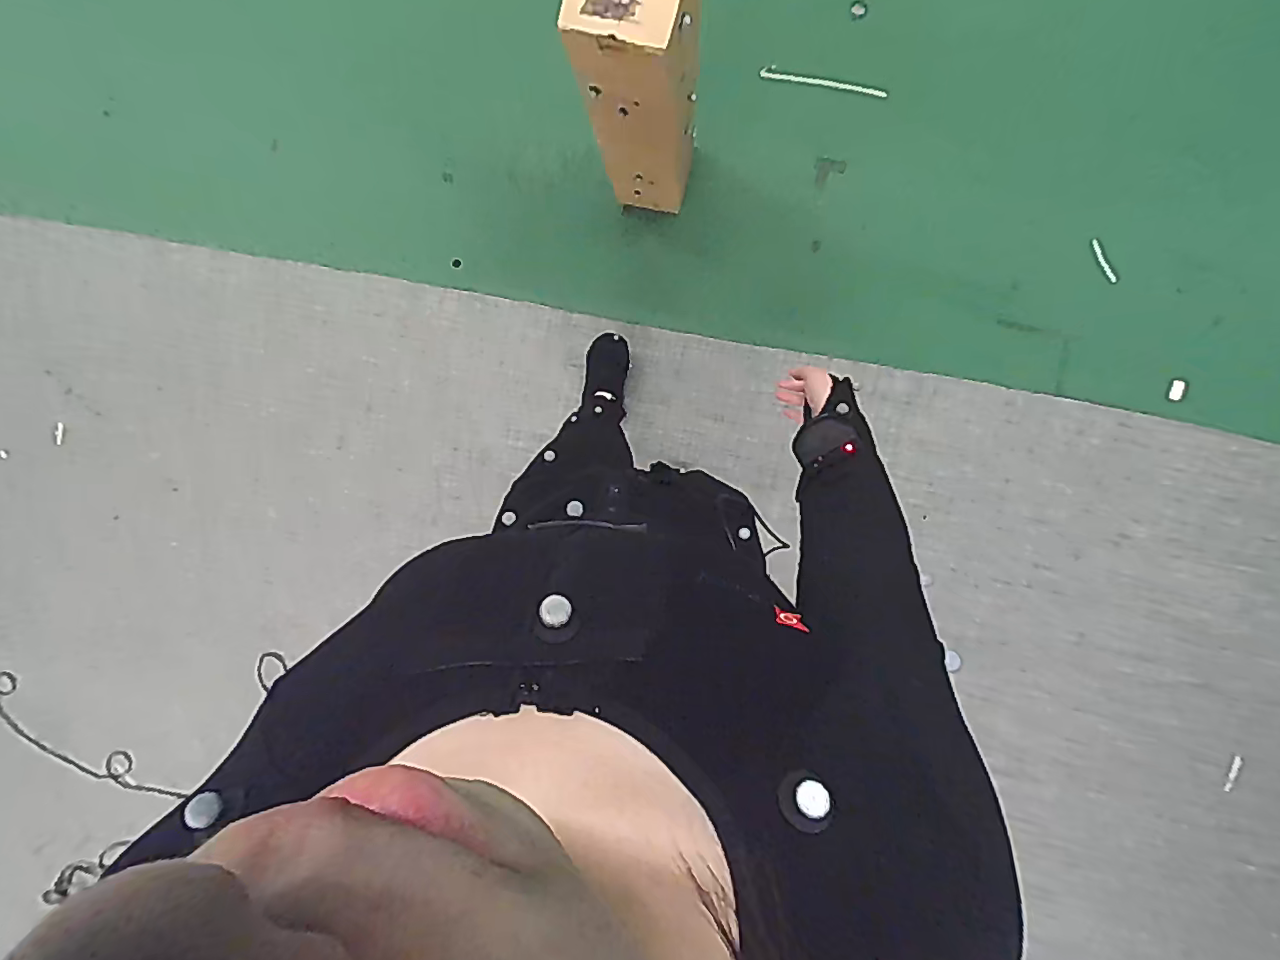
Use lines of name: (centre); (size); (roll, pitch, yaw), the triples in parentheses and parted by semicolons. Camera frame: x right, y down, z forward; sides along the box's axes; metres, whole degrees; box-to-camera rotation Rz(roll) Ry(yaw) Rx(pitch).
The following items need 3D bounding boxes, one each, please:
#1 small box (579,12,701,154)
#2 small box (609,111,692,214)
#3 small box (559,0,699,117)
small box: (0.005, -0.734, 0.994); (0.179, 0.176, 0.168); (15, 98, 3)
small box: (0.032, -0.776, 1.319); (0.168, 0.176, 0.179); (12, 97, 4)
small box: (-0.007, -0.705, 0.833); (0.168, 0.176, 0.179); (17, 97, 3)
